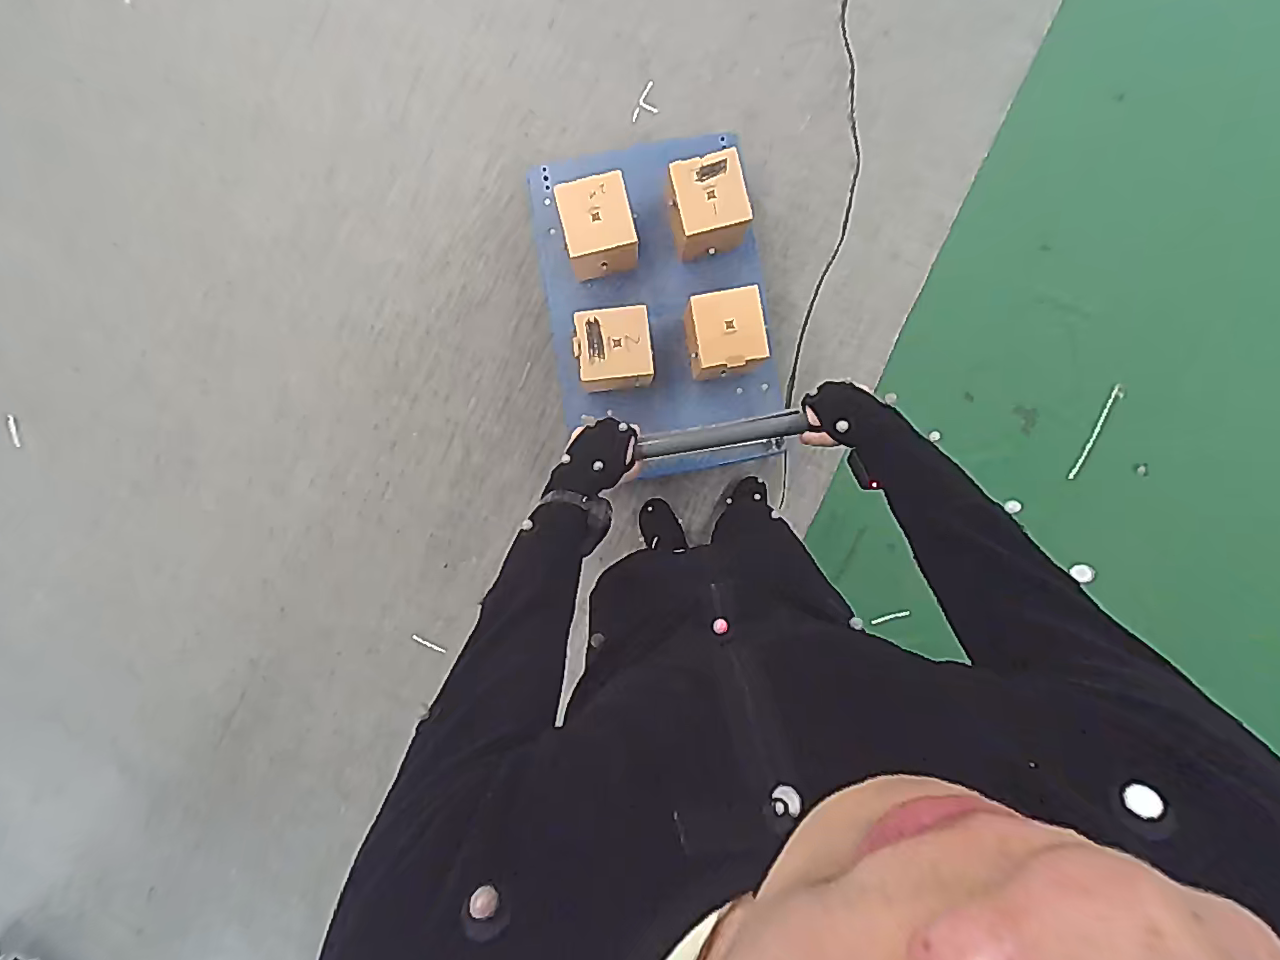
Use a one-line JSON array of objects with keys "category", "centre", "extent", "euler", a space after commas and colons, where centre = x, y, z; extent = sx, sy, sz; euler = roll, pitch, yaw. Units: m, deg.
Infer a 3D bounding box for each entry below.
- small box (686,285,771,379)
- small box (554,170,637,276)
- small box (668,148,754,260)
[{"category": "small box", "centre": [0.213, -0.362, 1.350], "extent": [0.168, 0.176, 0.179], "euler": [-10, 92, -1]}, {"category": "small box", "centre": [-0.103, -0.624, 1.339], "extent": [0.168, 0.176, 0.179], "euler": [-13, 91, -1]}, {"category": "small box", "centre": [0.168, -0.676, 1.340], "extent": [0.168, 0.176, 0.179], "euler": [-14, 92, 0]}]
